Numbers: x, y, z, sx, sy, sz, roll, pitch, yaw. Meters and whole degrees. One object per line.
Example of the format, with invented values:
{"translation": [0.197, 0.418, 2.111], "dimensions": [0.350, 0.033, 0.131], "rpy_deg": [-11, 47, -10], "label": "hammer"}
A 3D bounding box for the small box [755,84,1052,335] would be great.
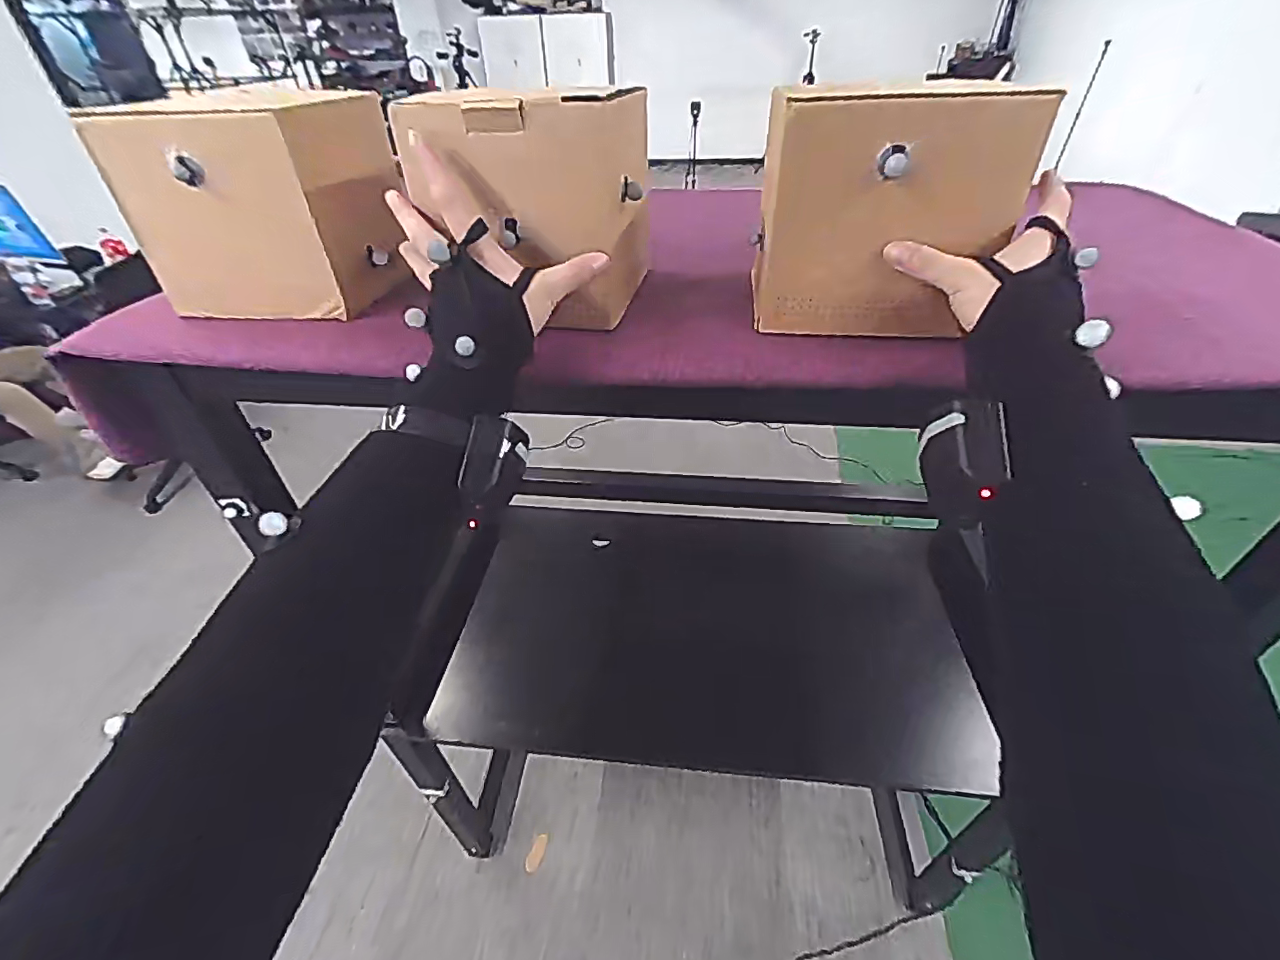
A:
{"translation": [0.198, -0.235, 0.472], "dimensions": [0.179, 0.176, 0.168], "rpy_deg": [3, 38, 8], "label": "small box"}

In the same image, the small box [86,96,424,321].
{"translation": [-0.341, -0.264, 0.526], "dimensions": [0.179, 0.176, 0.168], "rpy_deg": [3, 39, 5], "label": "small box"}

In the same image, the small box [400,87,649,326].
{"translation": [-0.084, -0.256, 0.506], "dimensions": [0.168, 0.176, 0.179], "rpy_deg": [7, 40, 9], "label": "small box"}
